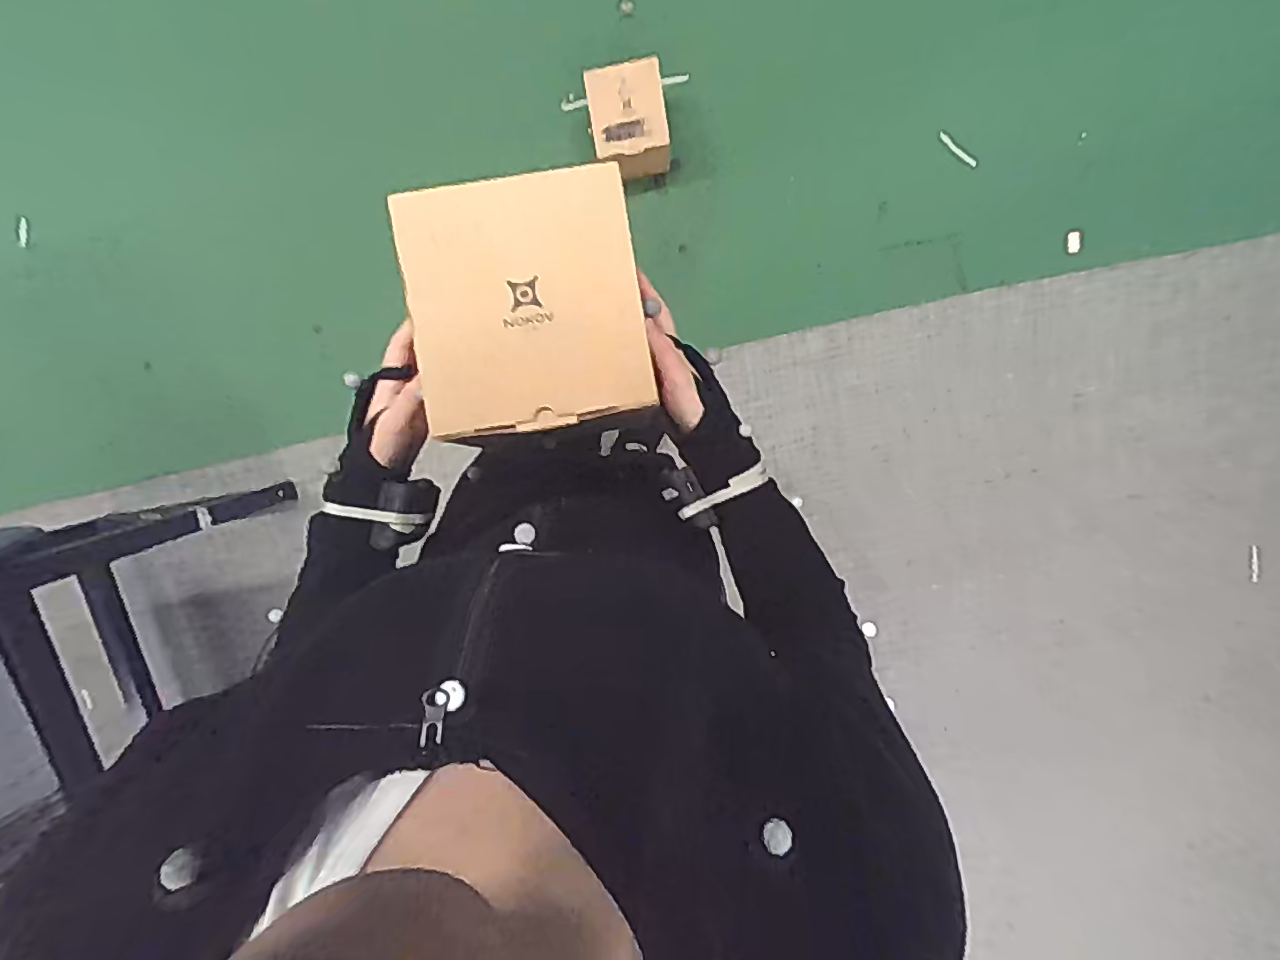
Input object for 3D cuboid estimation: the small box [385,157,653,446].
[{"bbox_3d":[-0.088,-0.131,0.458,0.168,0.176,0.179,-10,91,-2],"label":"small box"}]
